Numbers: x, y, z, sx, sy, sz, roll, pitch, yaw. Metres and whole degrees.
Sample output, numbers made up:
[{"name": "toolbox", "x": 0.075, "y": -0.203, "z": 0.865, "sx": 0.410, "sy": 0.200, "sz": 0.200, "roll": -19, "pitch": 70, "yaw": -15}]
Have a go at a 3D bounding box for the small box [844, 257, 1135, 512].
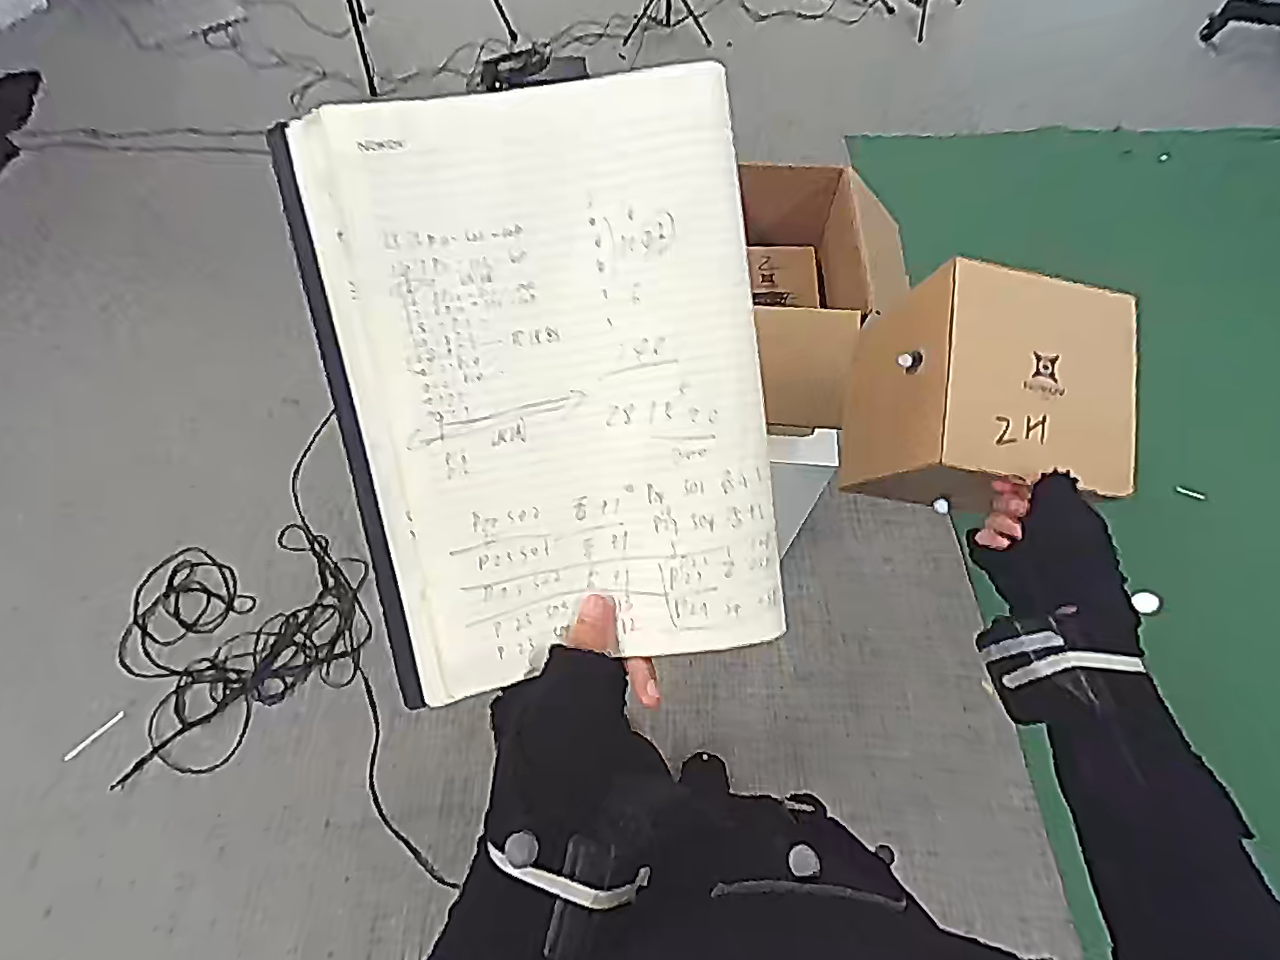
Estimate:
[{"name": "small box", "x": 0.312, "y": -0.073, "z": 0.512, "sx": 0.168, "sy": 0.176, "sz": 0.179, "roll": 9, "pitch": 81, "yaw": -5}]
